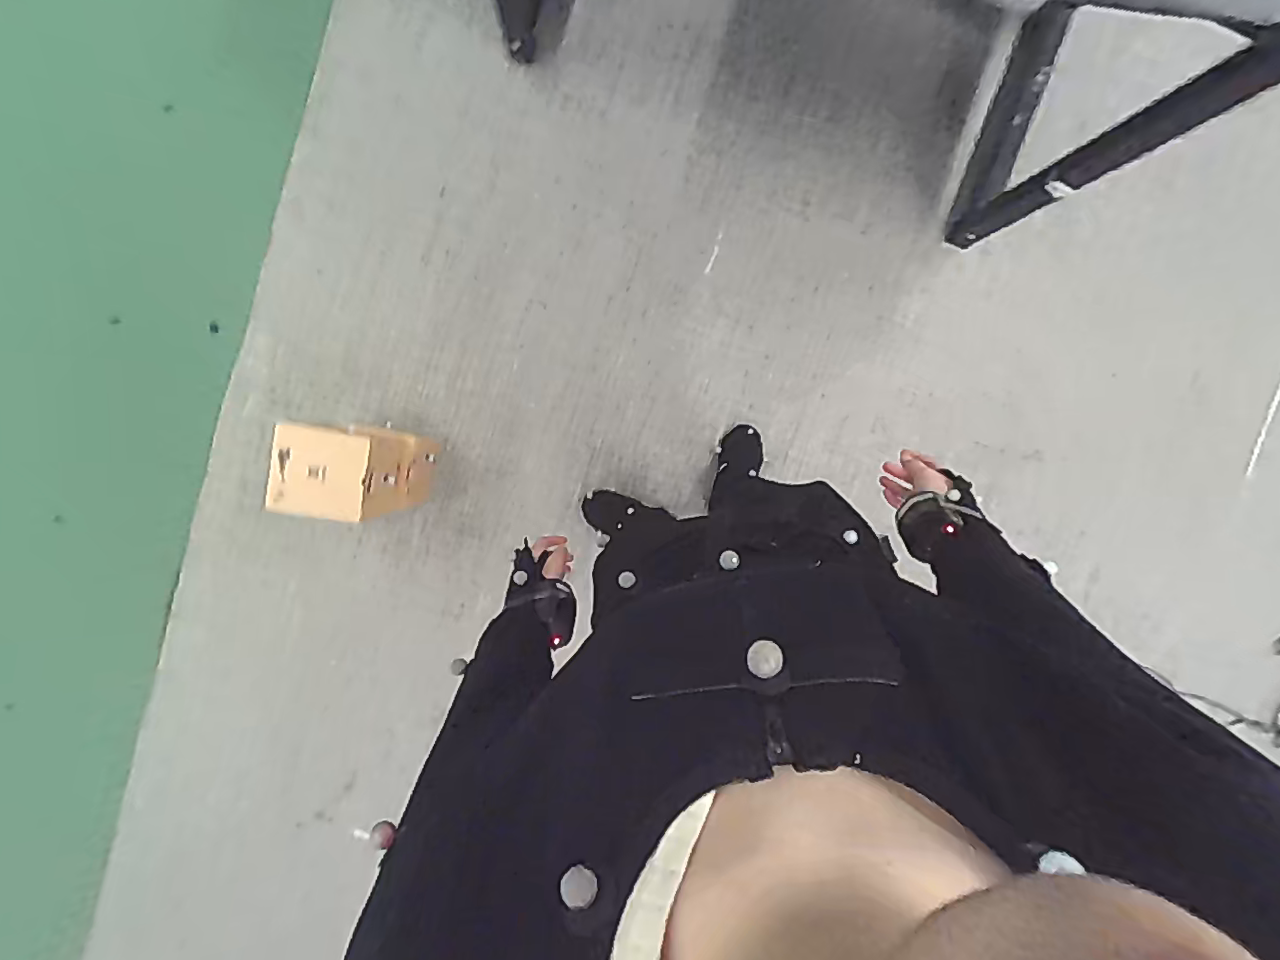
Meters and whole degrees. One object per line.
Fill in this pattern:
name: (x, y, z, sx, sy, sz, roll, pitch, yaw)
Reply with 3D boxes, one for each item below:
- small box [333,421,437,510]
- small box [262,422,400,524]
small box: (-0.584, -0.037, 1.234, 0.179, 0.176, 0.168, 11, 93, -3)
small box: (-0.599, -0.018, 1.070, 0.179, 0.176, 0.168, 10, 93, -5)
